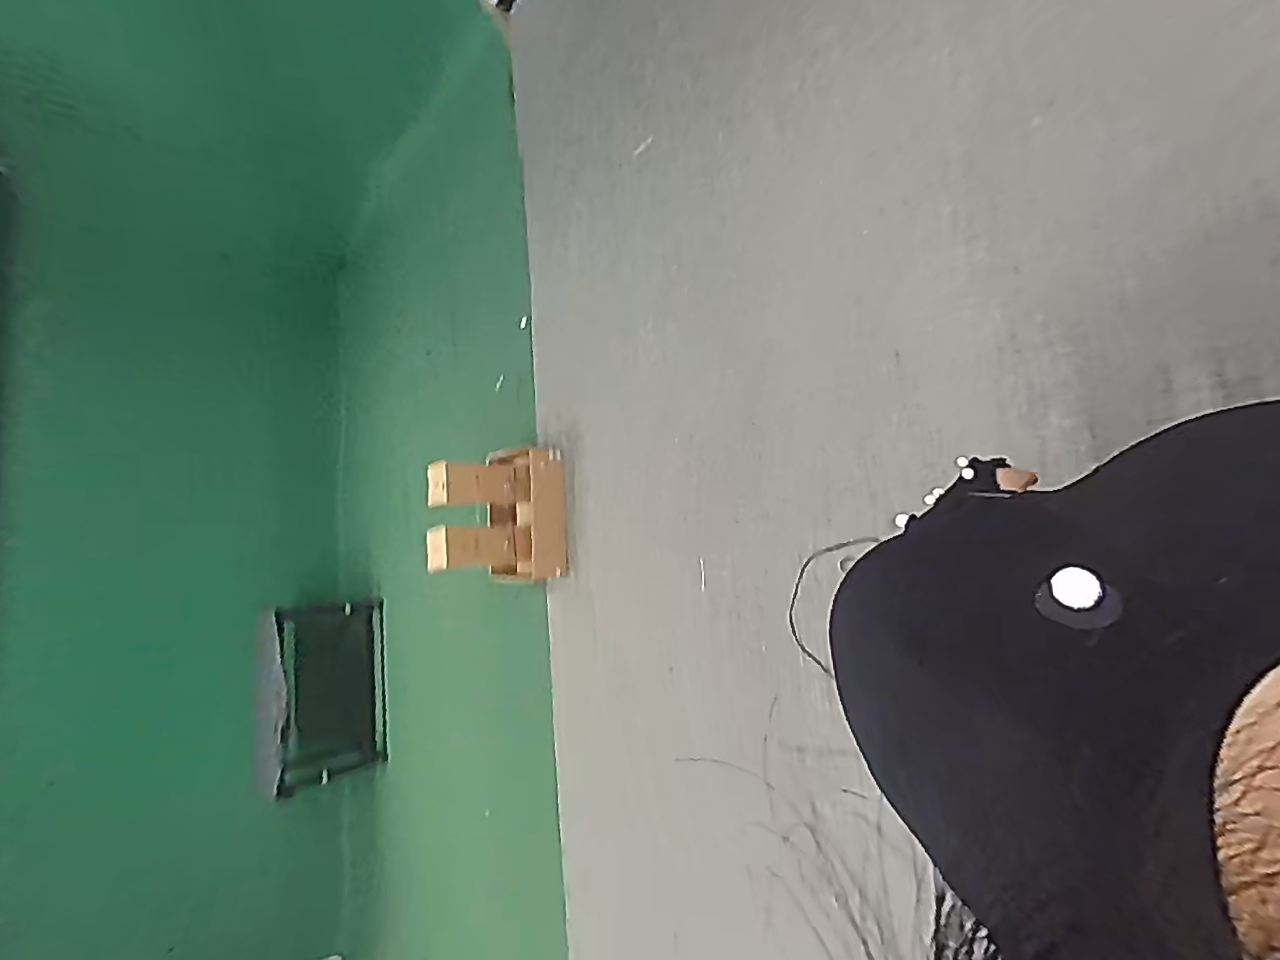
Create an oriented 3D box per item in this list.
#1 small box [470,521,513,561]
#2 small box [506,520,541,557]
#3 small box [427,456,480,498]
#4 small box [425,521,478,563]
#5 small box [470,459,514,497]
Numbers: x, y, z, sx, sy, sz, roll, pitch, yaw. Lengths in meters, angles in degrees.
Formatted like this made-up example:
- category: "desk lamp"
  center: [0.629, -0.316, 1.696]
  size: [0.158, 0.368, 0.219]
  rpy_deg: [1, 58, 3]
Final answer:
- category: "small box"
  center: [-0.701, 0.281, 2.467]
  size: [0.179, 0.176, 0.168]
  rpy_deg: [-16, 76, 41]
- category: "small box"
  center: [-0.595, 0.283, 2.593]
  size: [0.179, 0.176, 0.168]
  rpy_deg: [-13, 78, 43]
- category: "small box"
  center: [-0.815, -0.008, 2.363]
  size: [0.179, 0.176, 0.168]
  rpy_deg: [-9, 83, 45]
- category: "small box"
  center: [-0.815, 0.270, 2.348]
  size: [0.179, 0.176, 0.168]
  rpy_deg: [-16, 75, 42]
- category: "small box"
  center: [-0.699, -0.005, 2.480]
  size: [0.179, 0.176, 0.168]
  rpy_deg: [-5, 86, 43]
